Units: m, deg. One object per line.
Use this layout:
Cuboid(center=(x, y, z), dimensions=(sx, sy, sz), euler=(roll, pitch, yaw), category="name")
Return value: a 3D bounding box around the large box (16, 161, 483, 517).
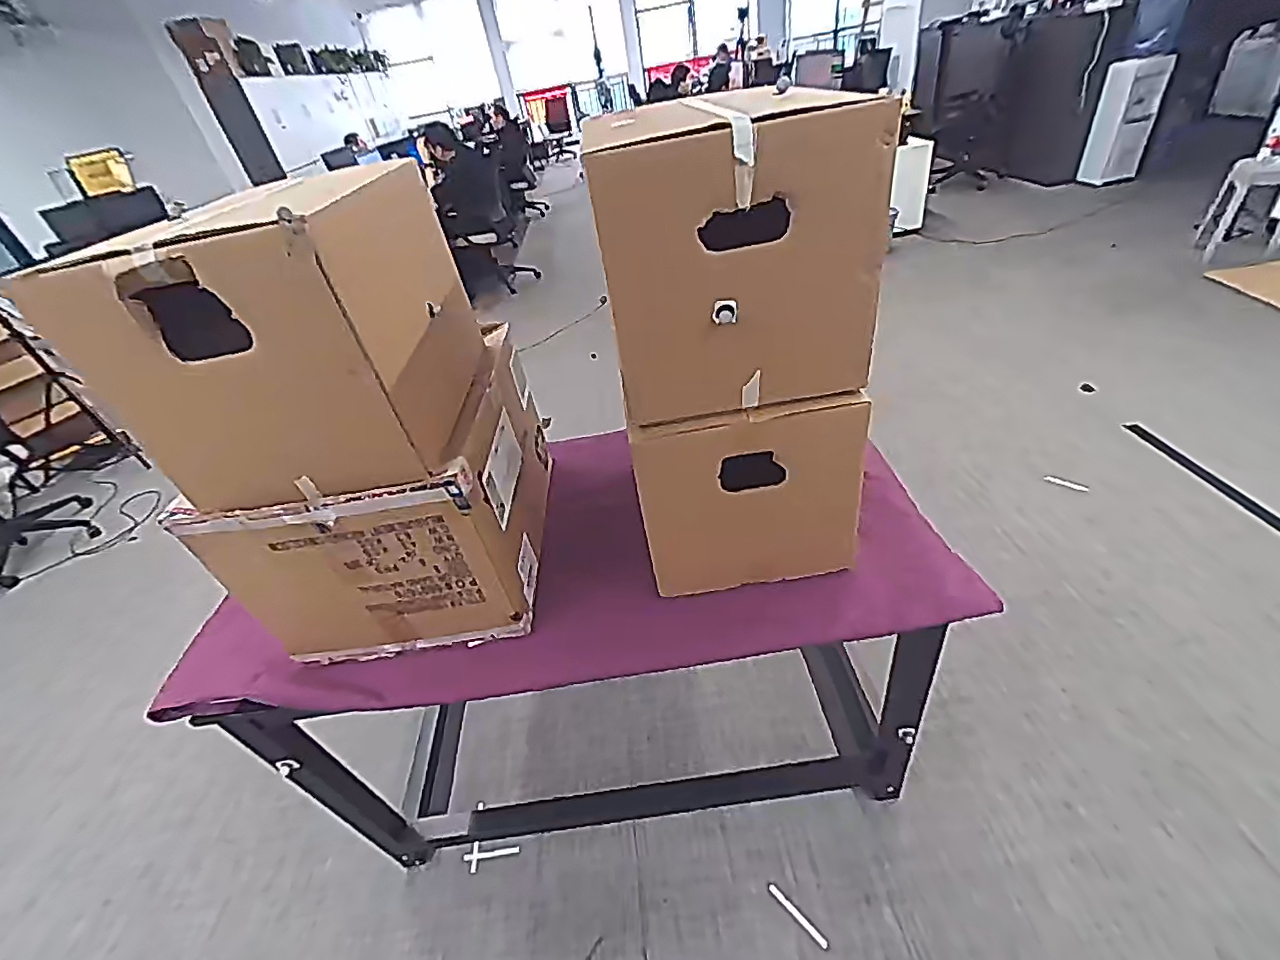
Cuboid(center=(-0.436, -0.212, 0.750), dimensions=(0.320, 0.320, 0.408), euler=(-11, 38, 3), category="large box")
